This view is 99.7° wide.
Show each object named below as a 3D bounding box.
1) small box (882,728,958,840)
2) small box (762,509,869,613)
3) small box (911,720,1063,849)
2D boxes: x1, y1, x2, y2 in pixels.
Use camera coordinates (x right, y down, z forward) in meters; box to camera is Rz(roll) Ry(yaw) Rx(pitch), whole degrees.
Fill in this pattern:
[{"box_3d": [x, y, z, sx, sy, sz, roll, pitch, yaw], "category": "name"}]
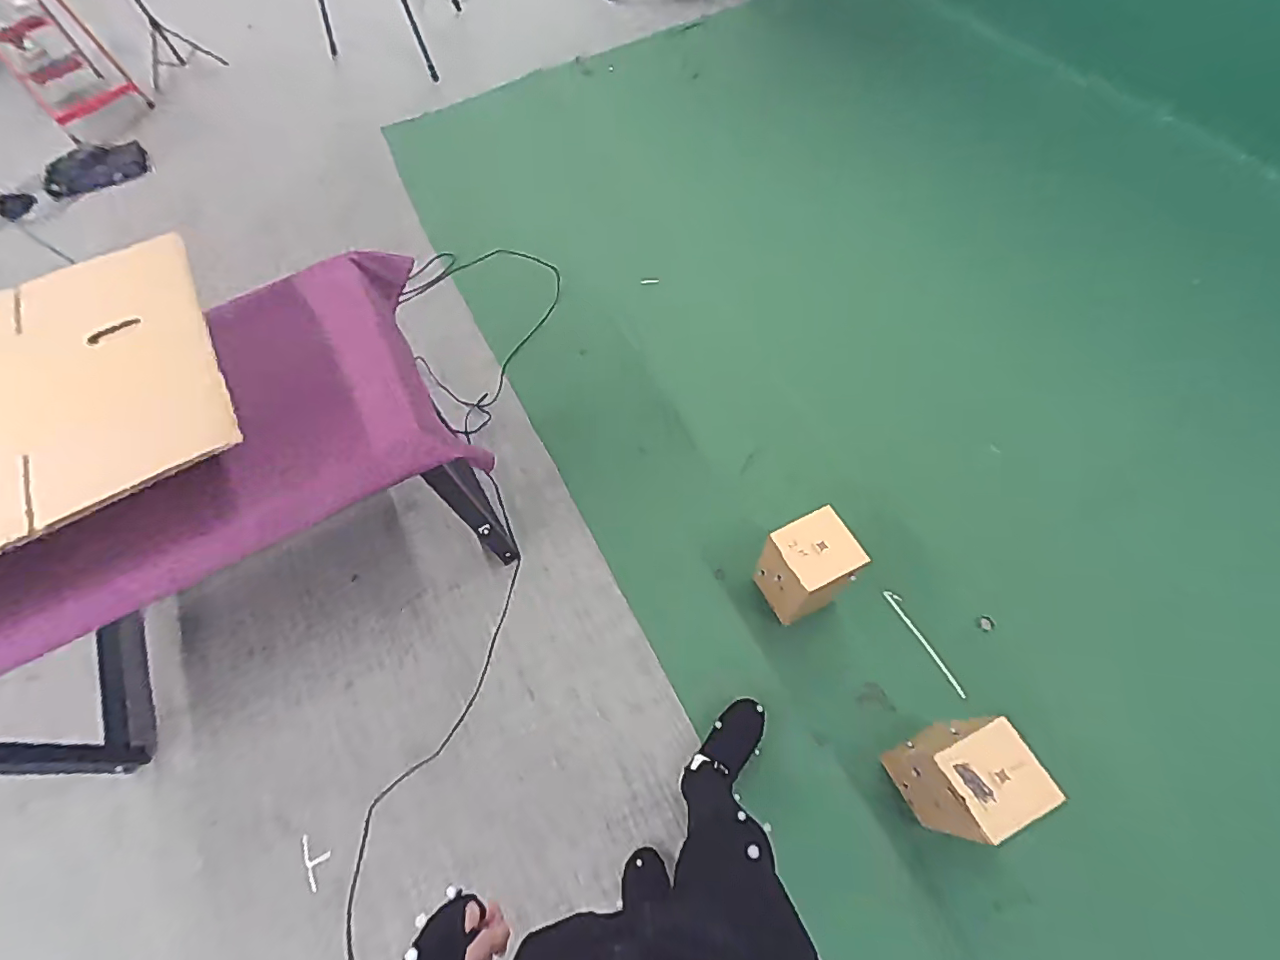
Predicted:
[{"box_3d": [0.698, 0.690, 1.246, 0.179, 0.176, 0.168, -26, 63, -8], "category": "small box"}, {"box_3d": [0.424, 0.204, 1.339, 0.179, 0.176, 0.168, -24, 62, -9], "category": "small box"}, {"box_3d": [0.686, 0.613, 1.101, 0.179, 0.176, 0.168, -24, 64, -8], "category": "small box"}]
